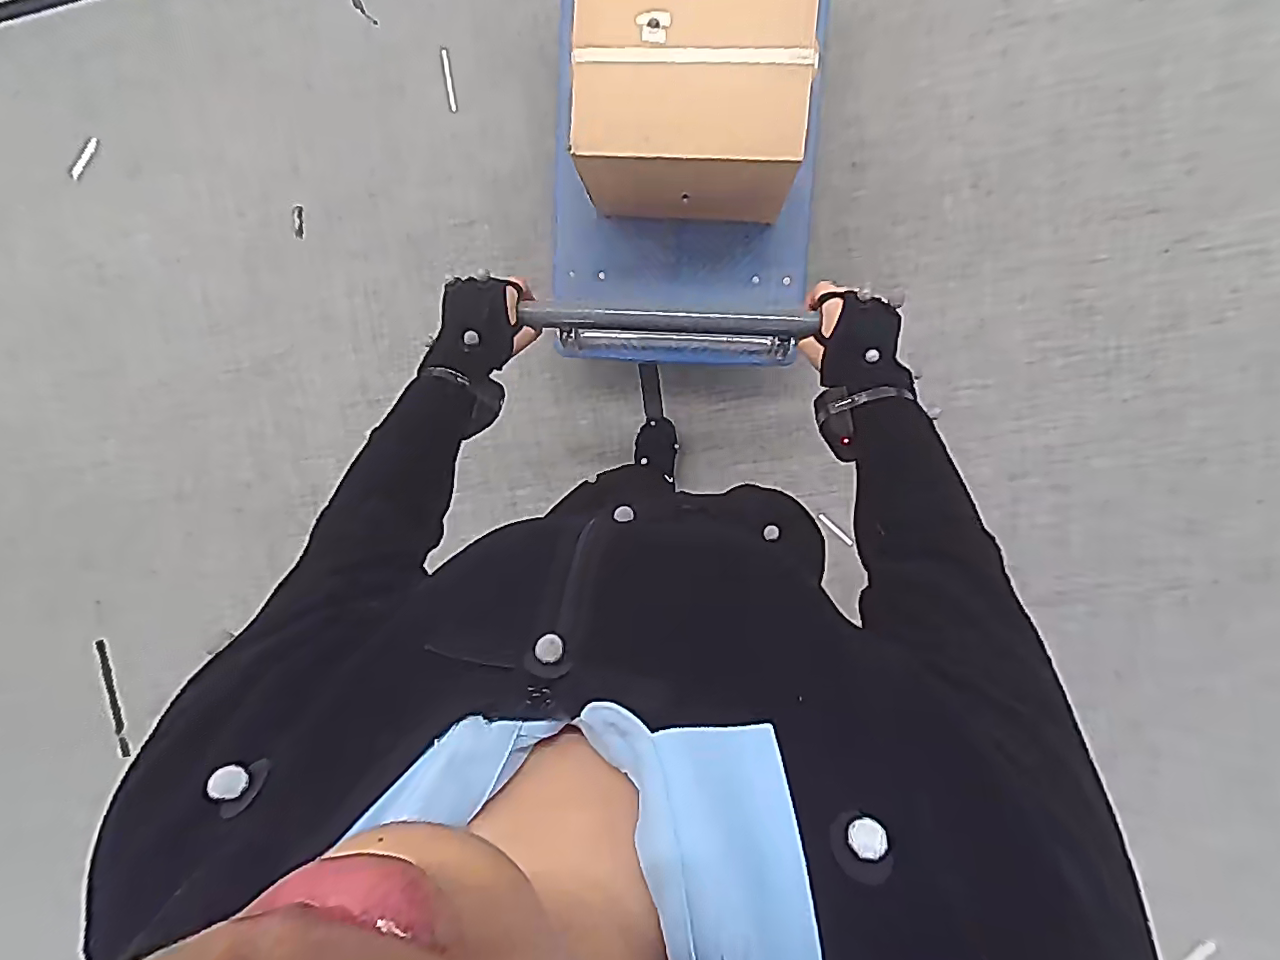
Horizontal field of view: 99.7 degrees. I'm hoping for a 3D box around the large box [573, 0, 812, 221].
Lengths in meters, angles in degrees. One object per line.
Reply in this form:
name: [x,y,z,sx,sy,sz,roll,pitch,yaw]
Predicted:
large box: [0.101,-0.725,1.071,0.408,0.320,0.320,4,97,6]
